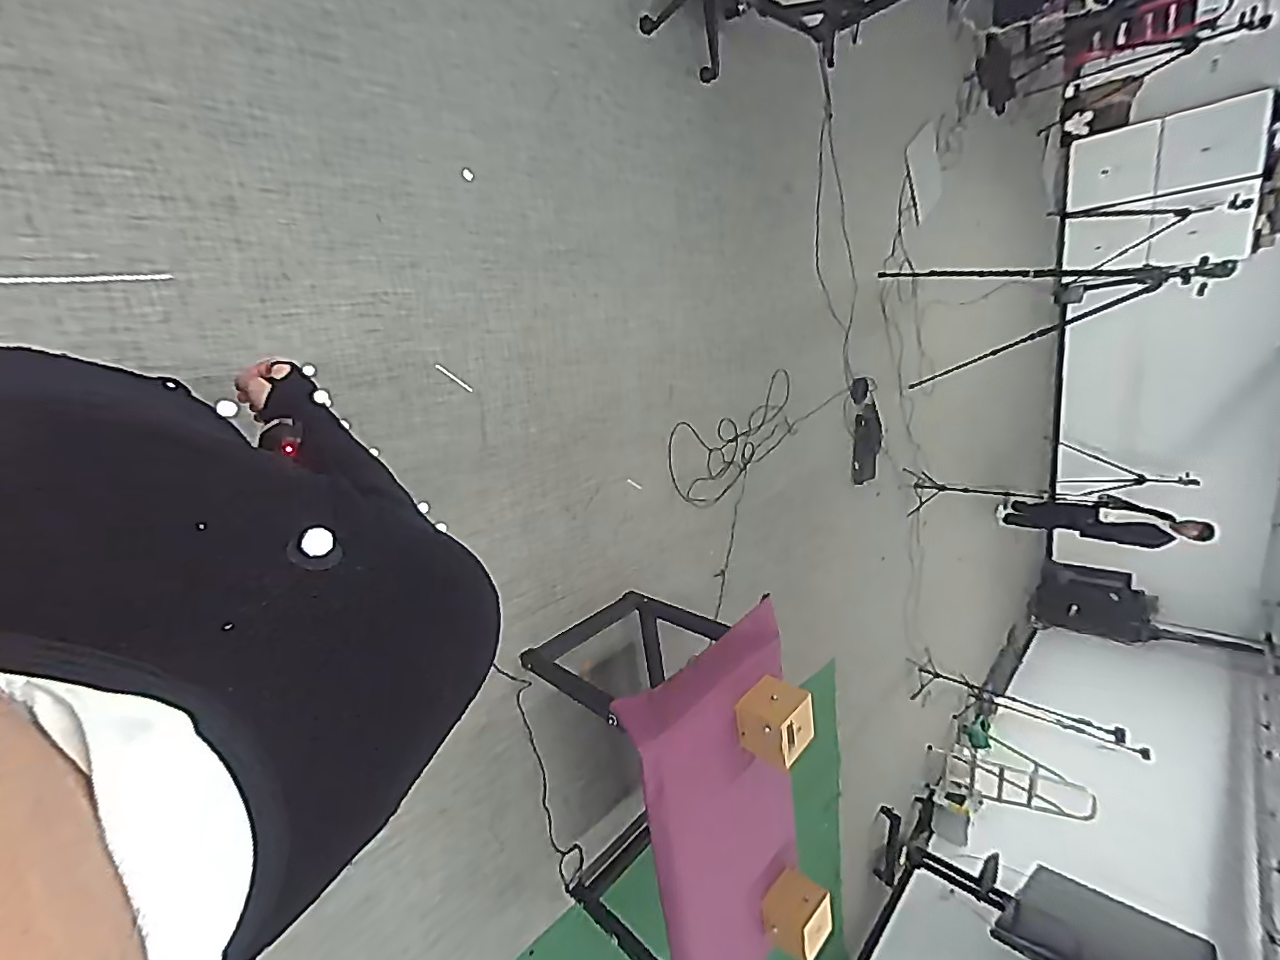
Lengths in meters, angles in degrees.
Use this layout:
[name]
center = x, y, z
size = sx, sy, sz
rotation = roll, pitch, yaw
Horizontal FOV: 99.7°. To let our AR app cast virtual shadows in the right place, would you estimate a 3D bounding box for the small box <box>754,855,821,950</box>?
[small box]
center = 0.537, 1.524, 1.967
size = 0.179, 0.176, 0.168
rotation = -19, 106, -41
